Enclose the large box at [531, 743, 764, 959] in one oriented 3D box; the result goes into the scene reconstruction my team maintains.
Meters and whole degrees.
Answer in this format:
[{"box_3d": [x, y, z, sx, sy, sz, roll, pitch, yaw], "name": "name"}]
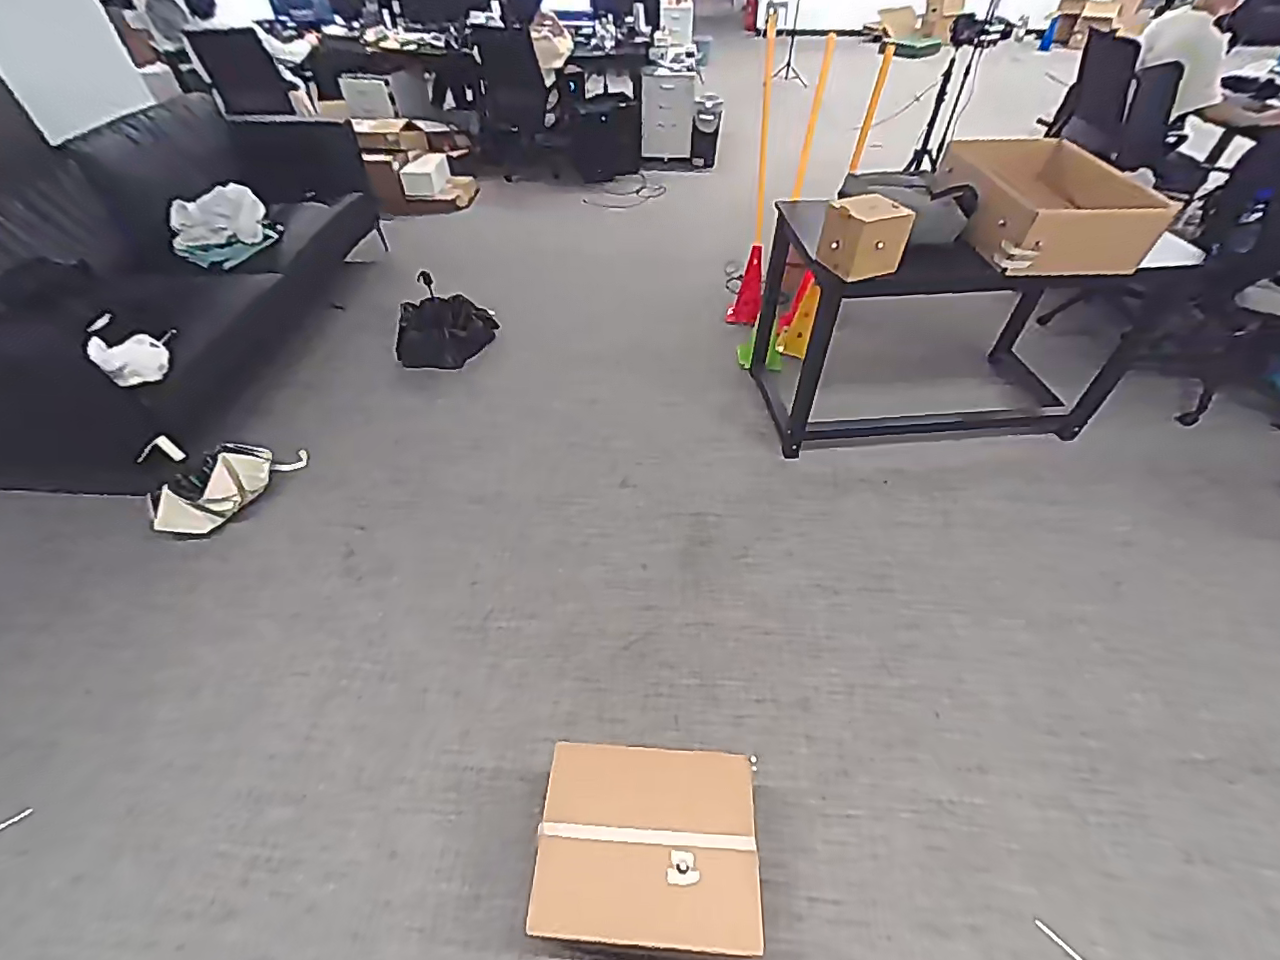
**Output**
[{"box_3d": [0.019, 0.767, 1.118, 0.408, 0.320, 0.320, 2, 47, 3], "name": "large box"}]
